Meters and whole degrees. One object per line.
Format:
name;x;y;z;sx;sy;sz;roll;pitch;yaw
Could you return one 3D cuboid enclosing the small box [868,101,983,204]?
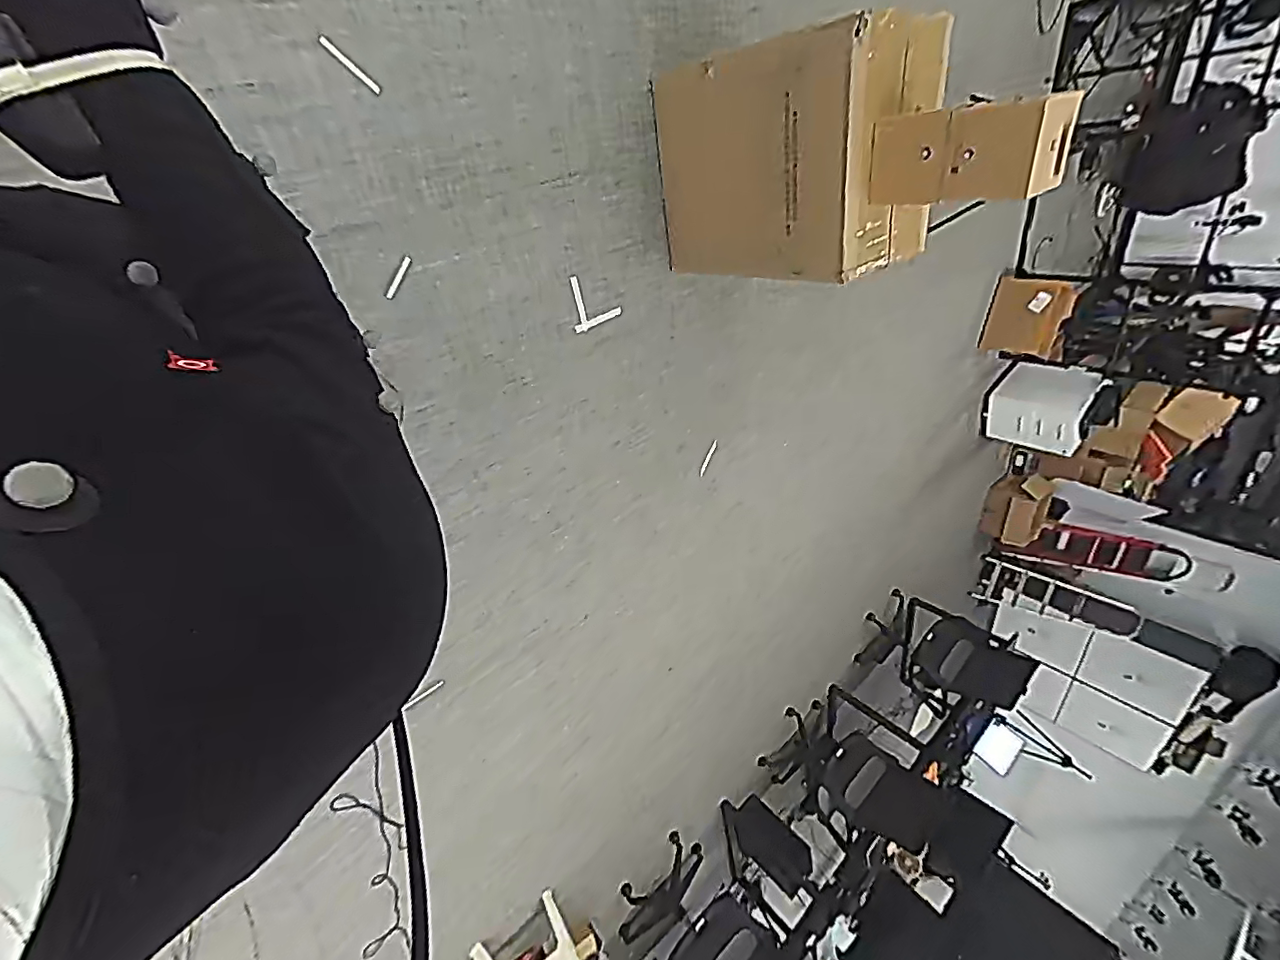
small box;0.638;-0.734;1.222;0.168;0.176;0.179;-29;128;-29
